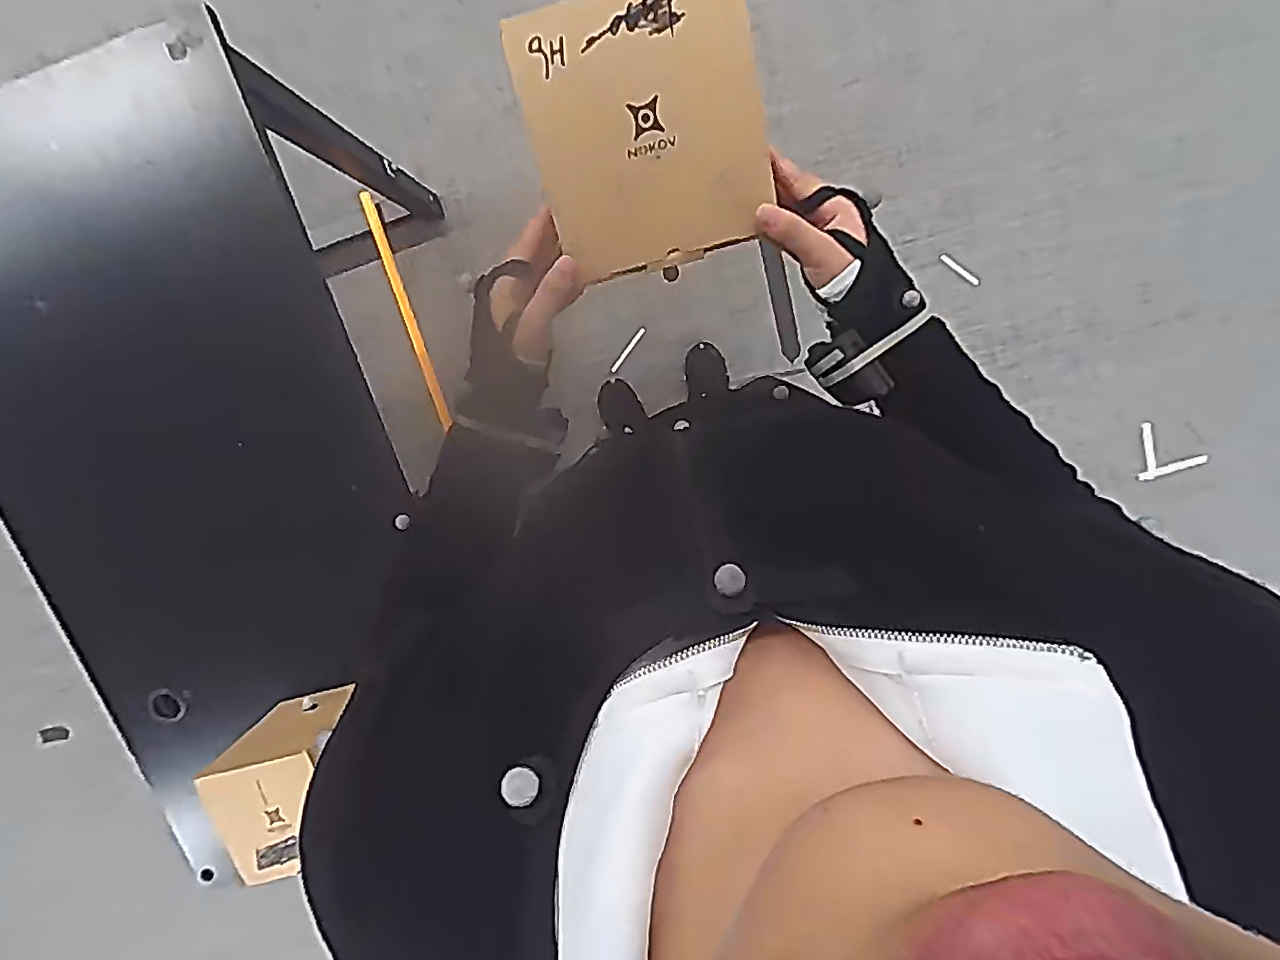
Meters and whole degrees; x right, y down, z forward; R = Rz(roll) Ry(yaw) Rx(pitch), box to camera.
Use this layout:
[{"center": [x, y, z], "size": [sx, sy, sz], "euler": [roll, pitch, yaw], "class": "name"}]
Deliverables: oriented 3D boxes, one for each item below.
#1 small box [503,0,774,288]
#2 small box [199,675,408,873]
[{"center": [0.006, -0.280, 0.464], "size": [0.168, 0.176, 0.179], "euler": [-14, 112, 5], "class": "small box"}, {"center": [-0.473, 0.421, 0.793], "size": [0.168, 0.176, 0.179], "euler": [-15, 101, 5], "class": "small box"}]
